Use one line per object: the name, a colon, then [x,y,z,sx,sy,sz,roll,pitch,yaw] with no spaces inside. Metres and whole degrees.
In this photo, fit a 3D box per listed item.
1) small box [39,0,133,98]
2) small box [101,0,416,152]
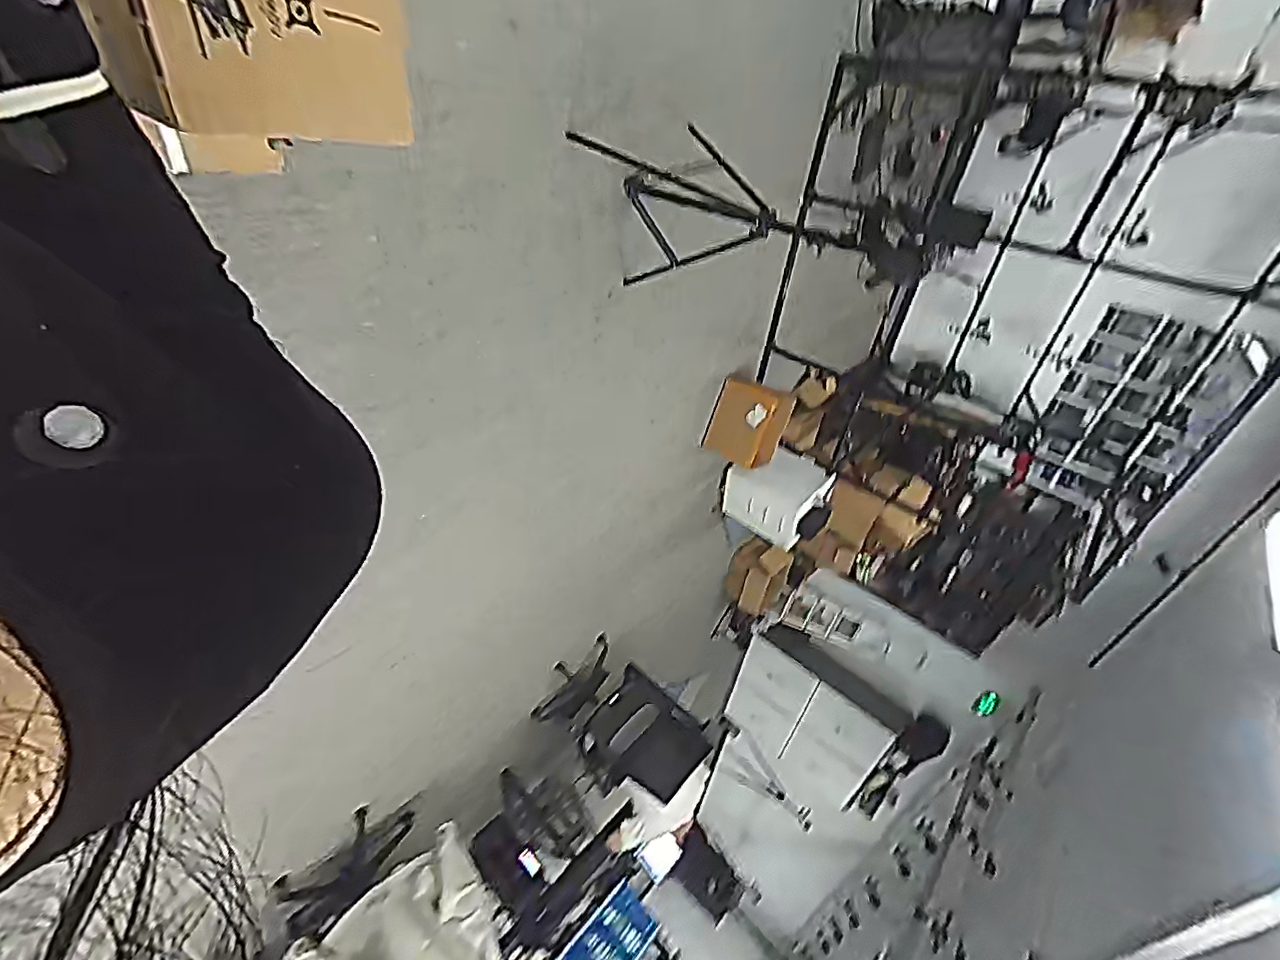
small box: [-0.541,-0.528,0.600,0.179,0.176,0.168,-27,138,-38]
small box: [-0.307,-0.372,0.429,0.179,0.176,0.168,-26,138,-41]
